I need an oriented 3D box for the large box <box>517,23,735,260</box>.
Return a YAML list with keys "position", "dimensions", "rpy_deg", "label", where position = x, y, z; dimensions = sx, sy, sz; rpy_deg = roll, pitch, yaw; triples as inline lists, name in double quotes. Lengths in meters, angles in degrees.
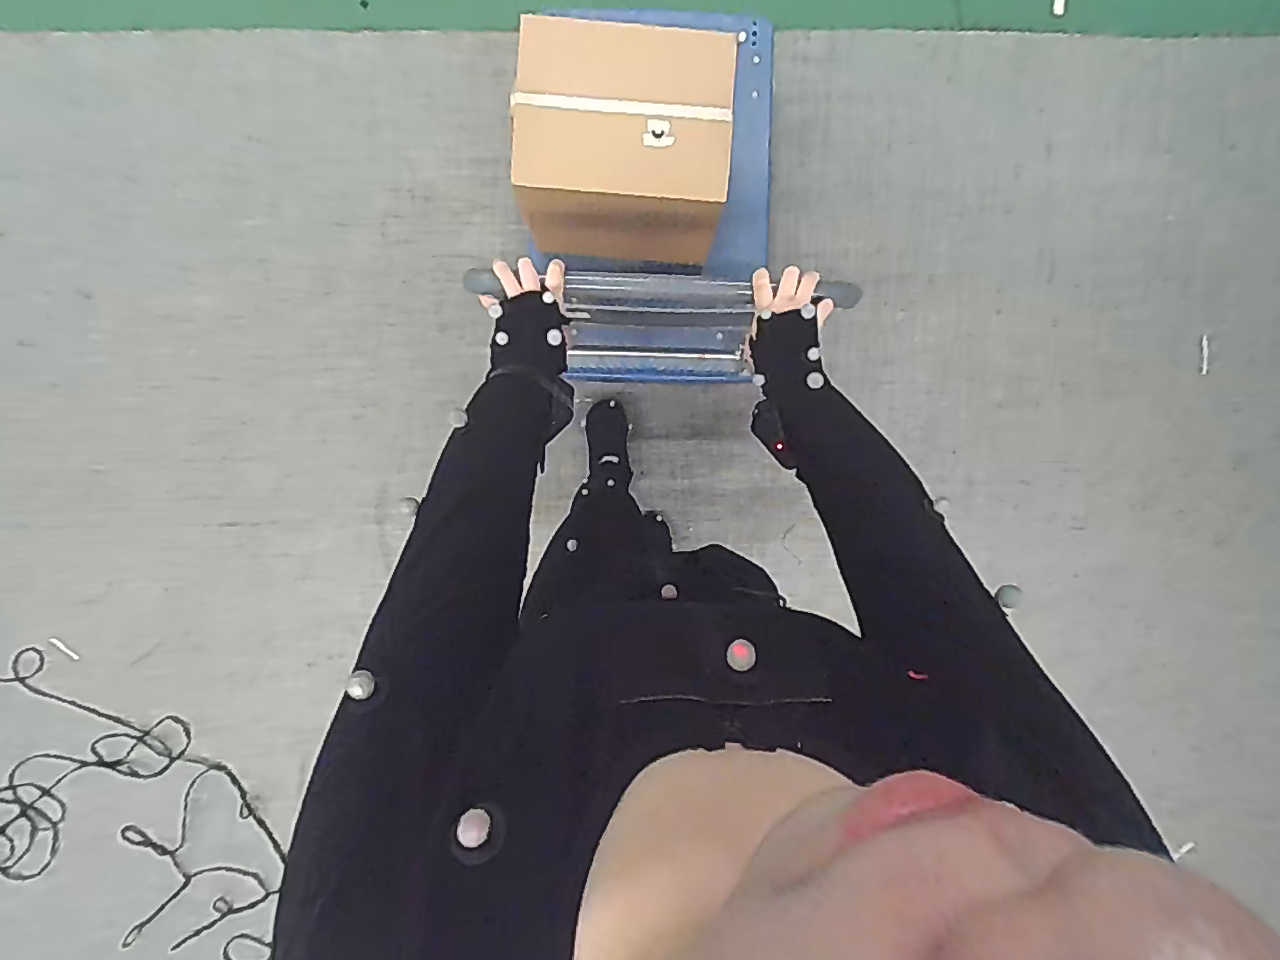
- position: [-0.033, -0.694, 1.164]
  dimensions: [0.408, 0.320, 0.320]
  rpy_deg: [4, 91, -2]
  label: "large box"
